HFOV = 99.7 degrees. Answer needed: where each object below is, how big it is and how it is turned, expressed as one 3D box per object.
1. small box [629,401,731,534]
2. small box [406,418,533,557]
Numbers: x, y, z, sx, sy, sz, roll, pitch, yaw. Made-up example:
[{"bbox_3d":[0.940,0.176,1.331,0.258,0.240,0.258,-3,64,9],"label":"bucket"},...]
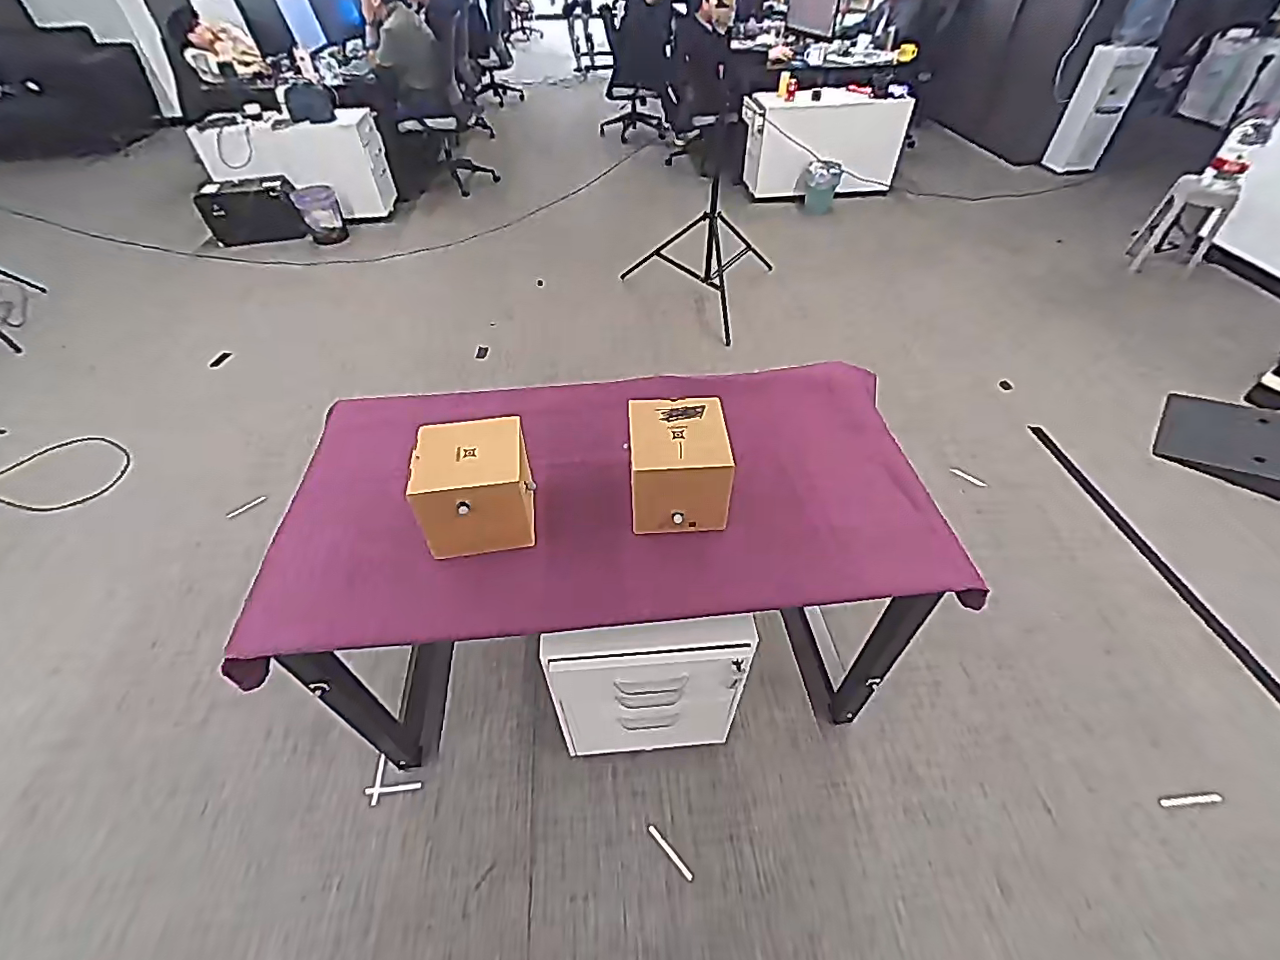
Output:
[{"bbox_3d":[0.063,-0.023,0.978,0.168,0.176,0.179,-3,47,-1],"label":"small box"},{"bbox_3d":[-0.285,0.015,0.950,0.179,0.176,0.168,-8,46,-5],"label":"small box"}]
